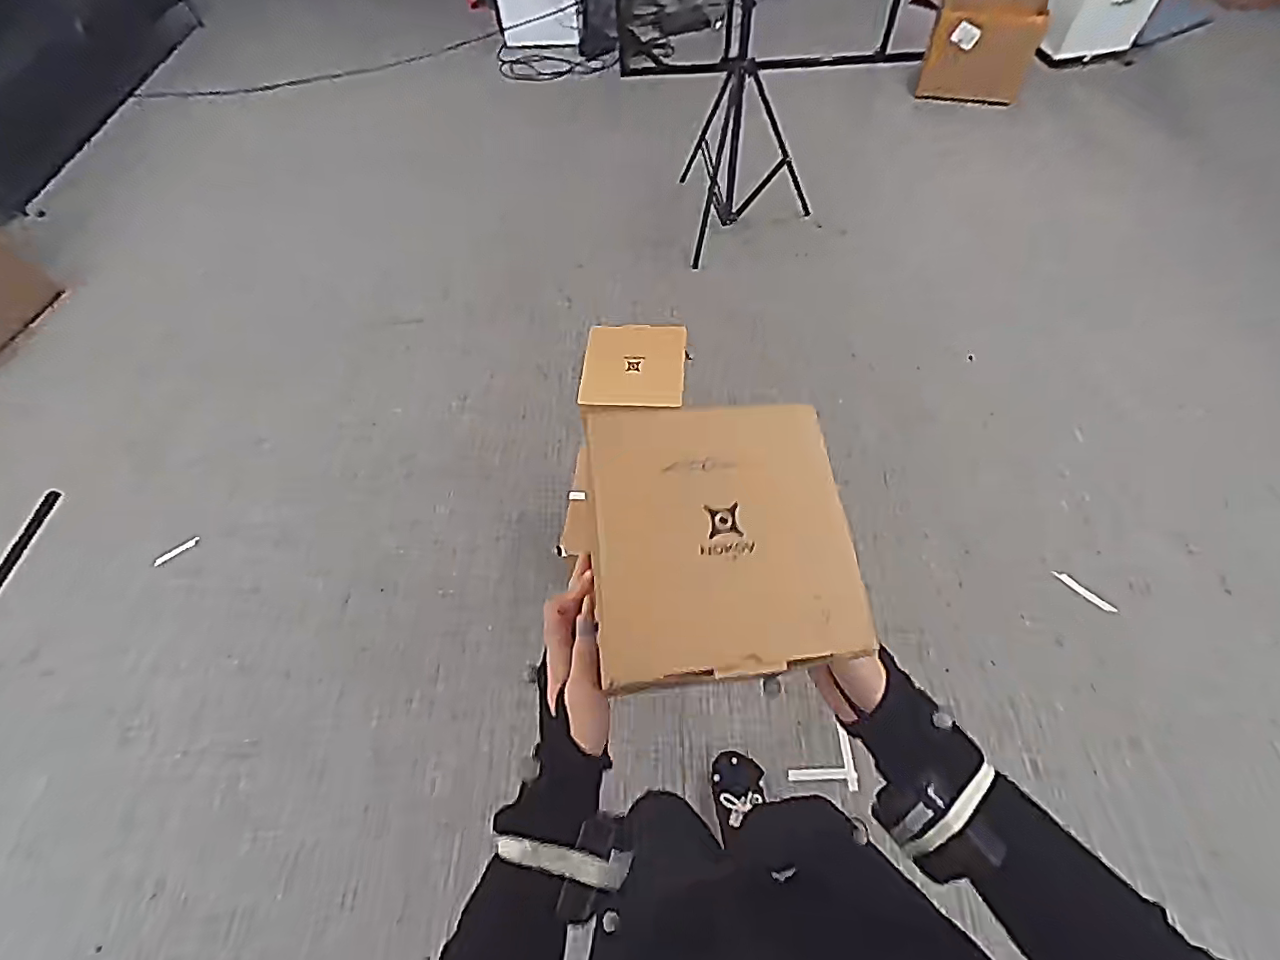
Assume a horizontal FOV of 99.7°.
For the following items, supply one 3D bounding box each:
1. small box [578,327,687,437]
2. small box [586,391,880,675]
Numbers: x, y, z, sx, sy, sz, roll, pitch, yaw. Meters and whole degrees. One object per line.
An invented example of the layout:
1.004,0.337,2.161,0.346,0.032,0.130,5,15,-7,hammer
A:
-0.003,-0.143,0.939,0.168,0.176,0.179,2,59,5,small box
0.047,0.051,0.419,0.168,0.176,0.179,-4,67,-9,small box
